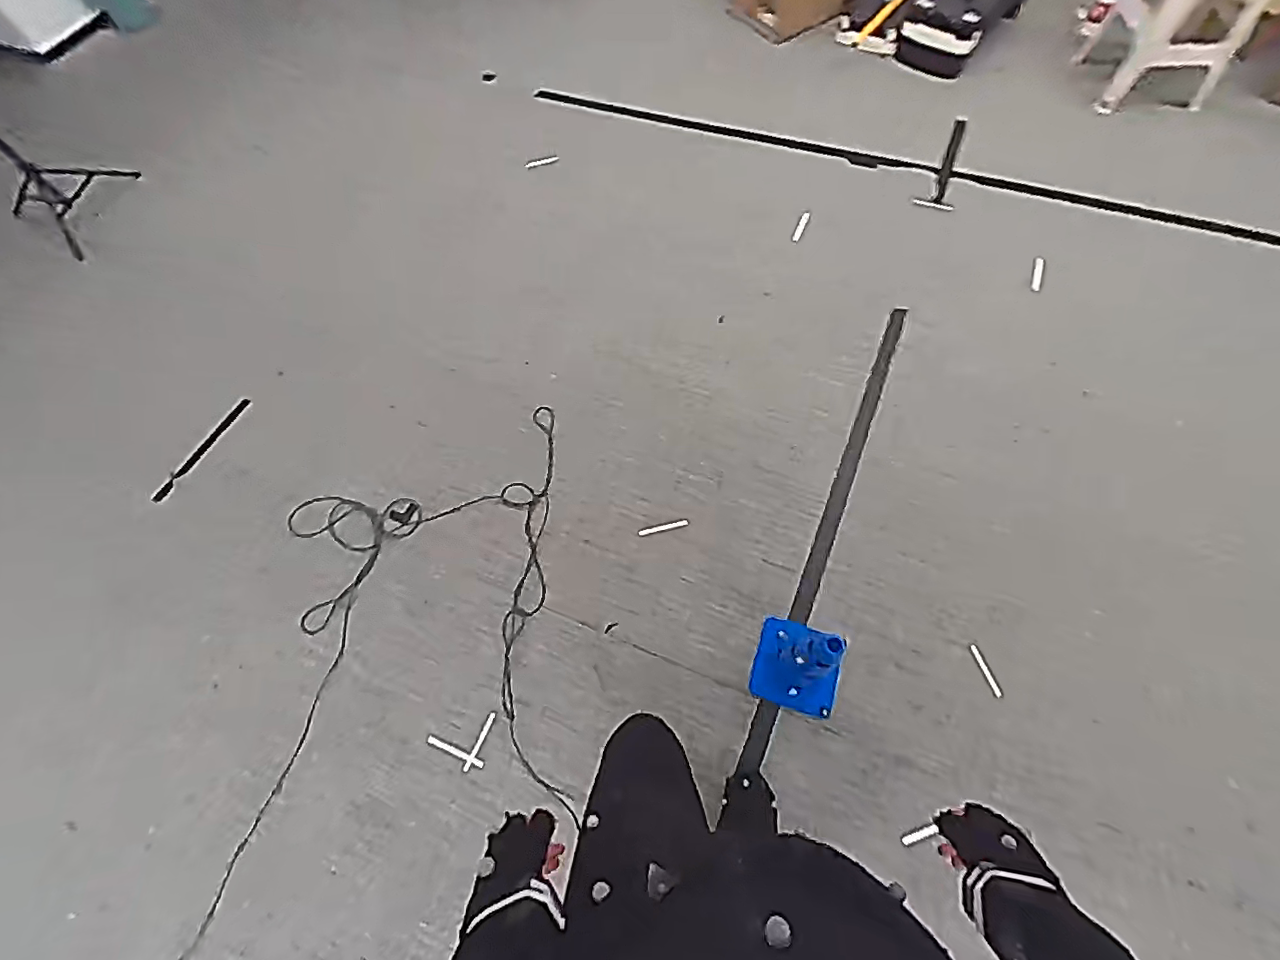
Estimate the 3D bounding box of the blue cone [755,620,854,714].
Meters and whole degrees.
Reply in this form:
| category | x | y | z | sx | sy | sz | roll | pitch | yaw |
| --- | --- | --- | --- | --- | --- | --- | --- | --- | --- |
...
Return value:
| category | x | y | z | sx | sy | sz | roll | pitch | yaw |
| --- | --- | --- | --- | --- | --- | --- | --- | --- | --- |
| blue cone | 0.380 | 0.386 | 1.179 | 0.192 | 0.380 | 0.193 | 18 | 67 | 11 |
